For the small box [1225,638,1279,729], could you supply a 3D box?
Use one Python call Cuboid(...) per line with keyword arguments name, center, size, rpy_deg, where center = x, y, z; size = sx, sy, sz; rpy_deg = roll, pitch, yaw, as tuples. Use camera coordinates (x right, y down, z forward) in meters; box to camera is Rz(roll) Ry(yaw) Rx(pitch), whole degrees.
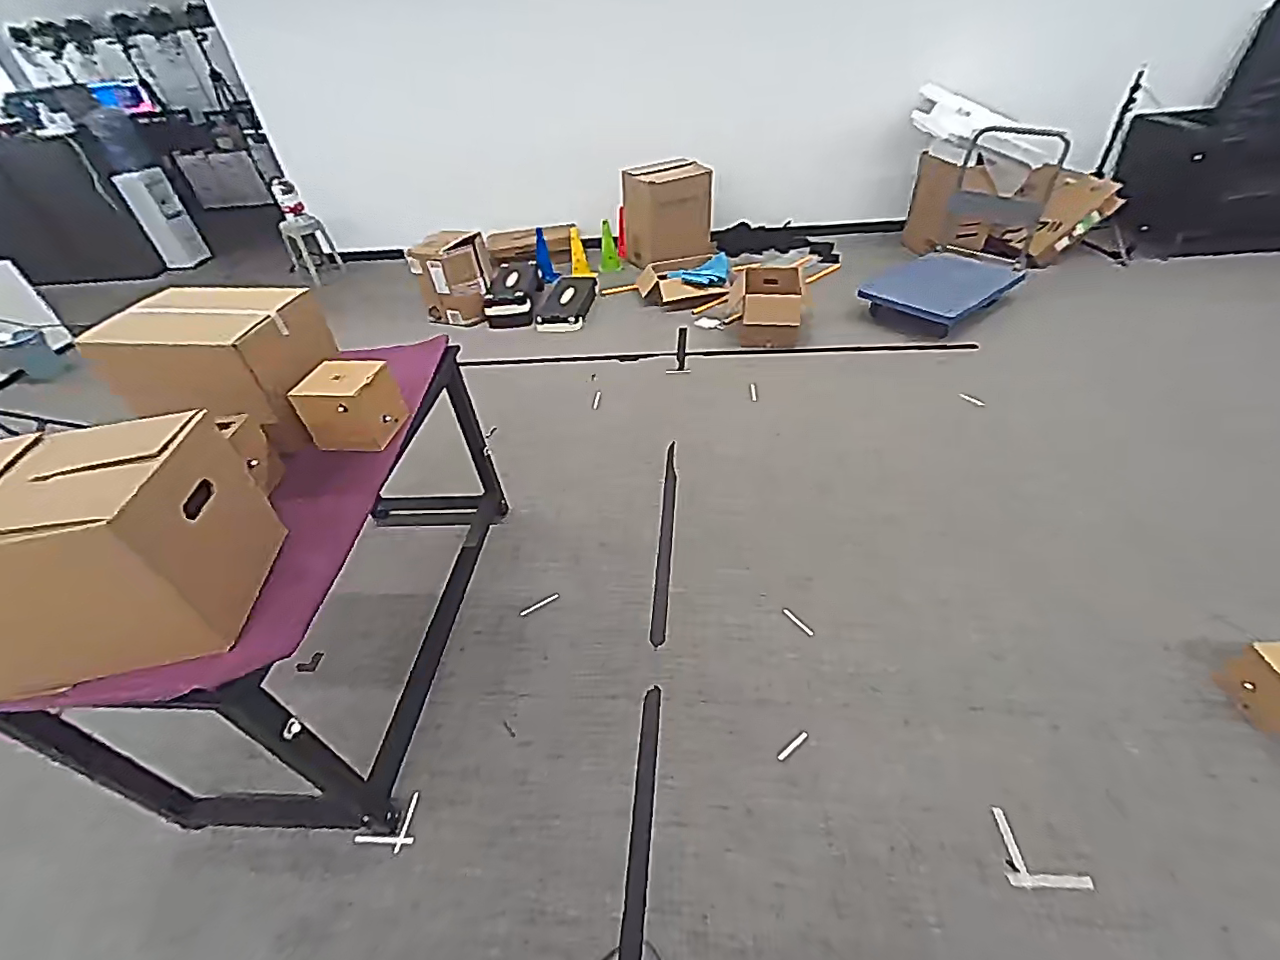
Cuboid(name="small box", center=(1.669, 0.522, 1.377), size=(0.179, 0.176, 0.168), rpy_deg=(-2, 41, 5))
